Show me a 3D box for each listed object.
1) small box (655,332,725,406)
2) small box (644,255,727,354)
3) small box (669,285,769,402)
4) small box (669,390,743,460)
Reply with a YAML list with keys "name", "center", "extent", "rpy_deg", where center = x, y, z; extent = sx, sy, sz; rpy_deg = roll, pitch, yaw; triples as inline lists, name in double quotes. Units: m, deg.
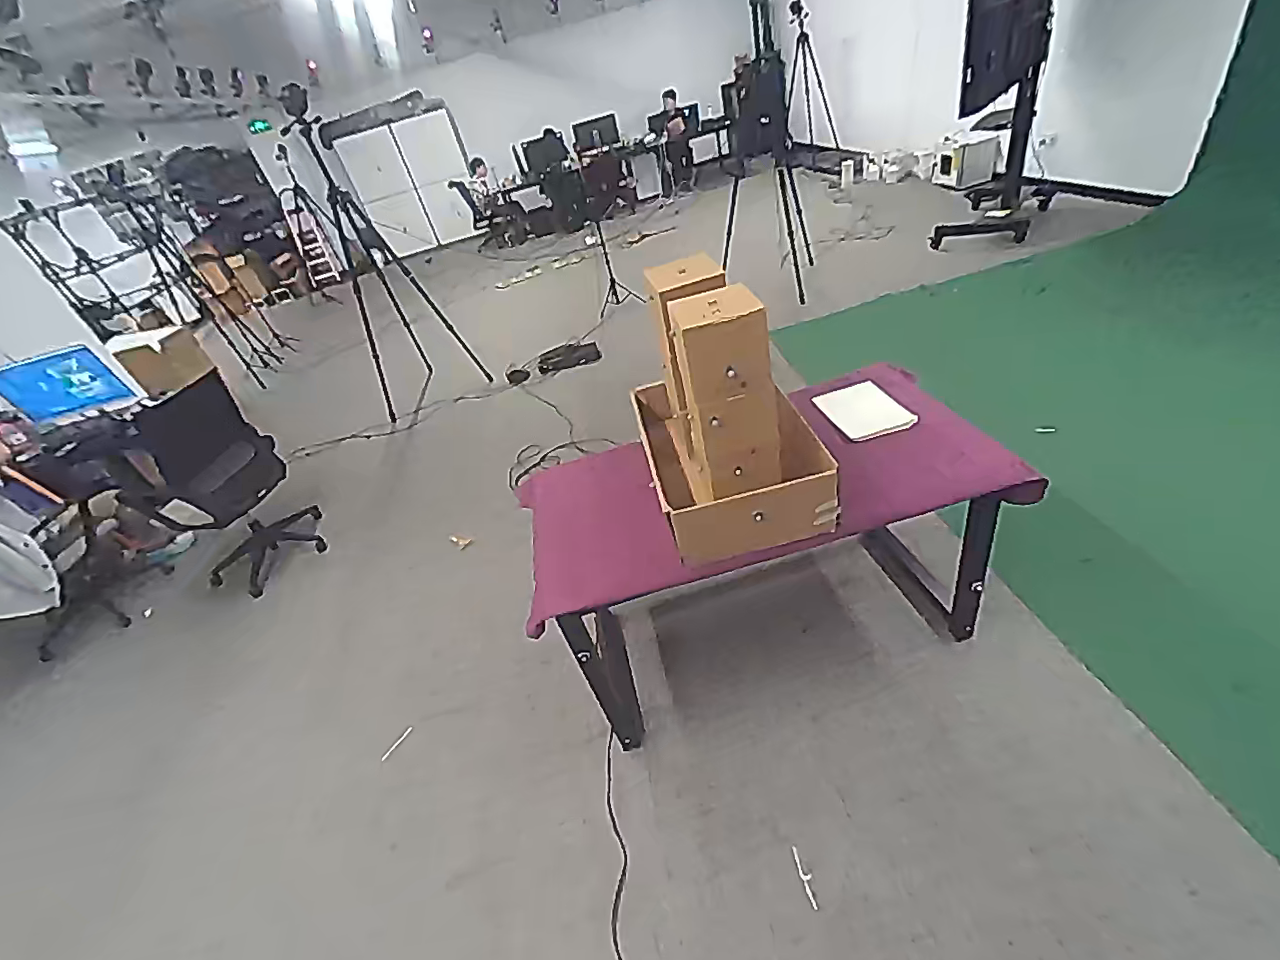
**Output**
- name: "small box"
  center: [0.152, -0.315, 1.458]
  extent: [0.168, 0.176, 0.179]
  rpy_deg: [-17, 37, -2]
- name: "small box"
  center: [0.119, -0.439, 1.358]
  extent: [0.168, 0.176, 0.179]
  rpy_deg: [-17, 39, -1]
- name: "small box"
  center: [0.164, -0.286, 1.135]
  extent: [0.168, 0.176, 0.179]
  rpy_deg: [-15, 36, 2]
- name: "small box"
  center: [0.188, -0.185, 1.552]
  extent: [0.168, 0.176, 0.179]
  rpy_deg: [-16, 38, -1]
